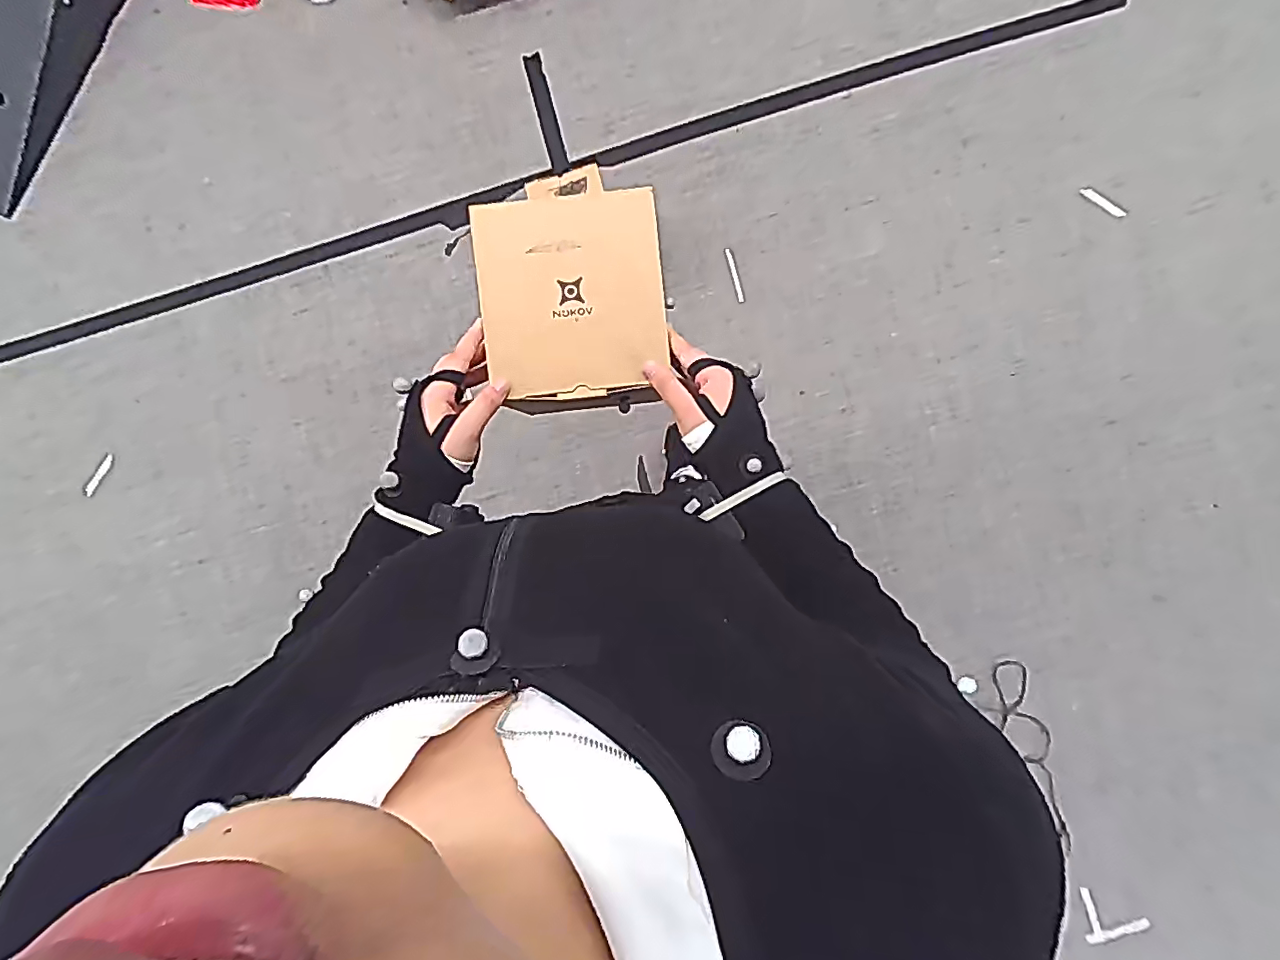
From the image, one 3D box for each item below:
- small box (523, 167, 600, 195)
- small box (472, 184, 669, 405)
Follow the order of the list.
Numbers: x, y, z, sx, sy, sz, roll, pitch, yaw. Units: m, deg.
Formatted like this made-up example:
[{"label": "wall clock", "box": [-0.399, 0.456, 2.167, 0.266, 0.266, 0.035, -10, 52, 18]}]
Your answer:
[{"label": "small box", "box": [-0.156, -0.579, 1.254, 0.168, 0.176, 0.179, -16, 91, 1]}, {"label": "small box", "box": [-0.061, -0.173, 0.561, 0.168, 0.176, 0.179, -6, 93, -1]}]
